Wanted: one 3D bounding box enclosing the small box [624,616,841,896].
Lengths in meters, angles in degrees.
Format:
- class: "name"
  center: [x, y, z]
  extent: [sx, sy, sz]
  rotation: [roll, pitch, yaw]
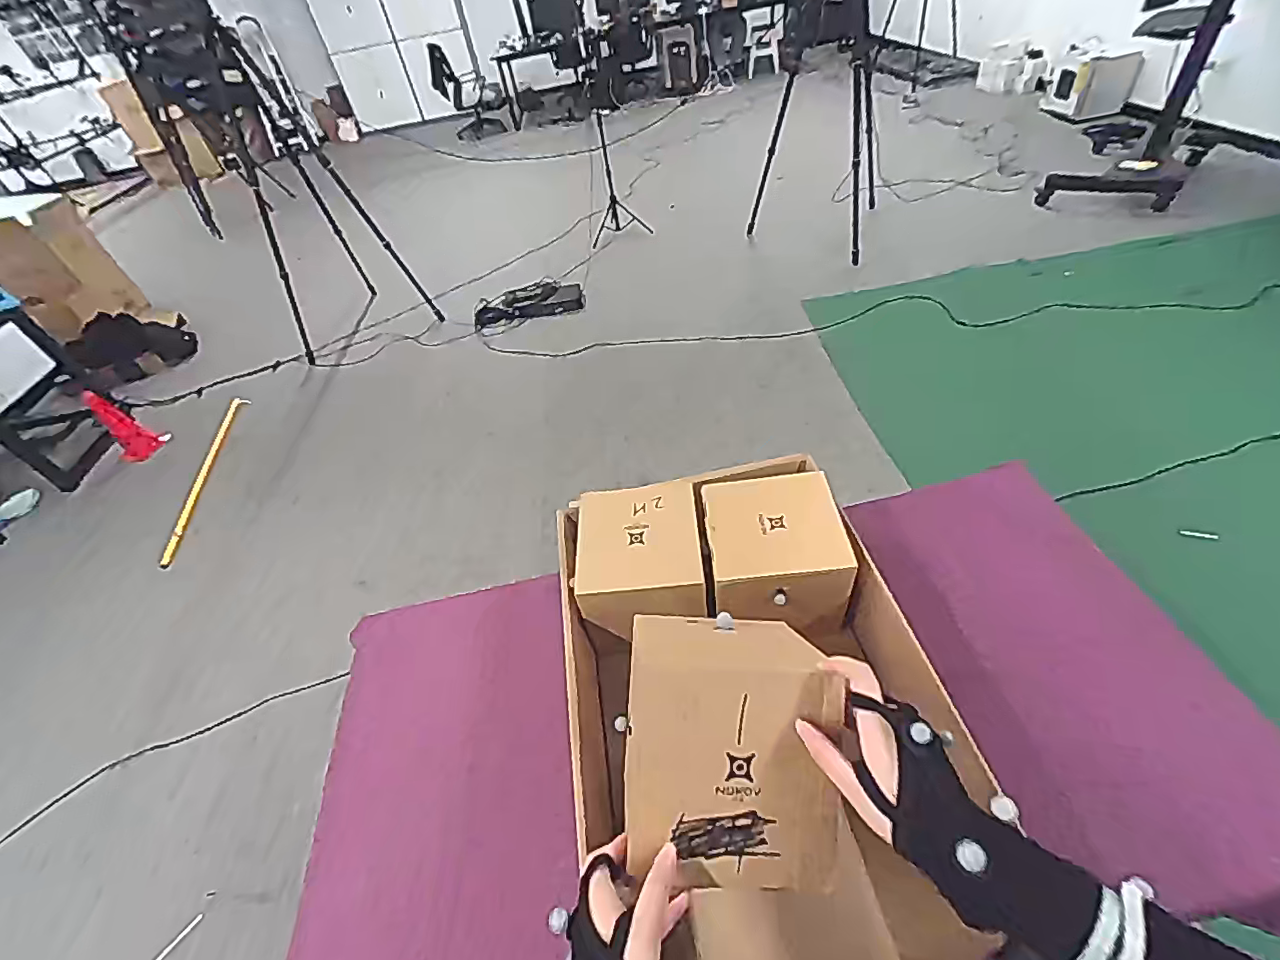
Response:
- class: "small box"
  center: [0.073, 0.240, 0.508]
  extent: [0.168, 0.176, 0.179]
  rotation: [3, 89, -1]
